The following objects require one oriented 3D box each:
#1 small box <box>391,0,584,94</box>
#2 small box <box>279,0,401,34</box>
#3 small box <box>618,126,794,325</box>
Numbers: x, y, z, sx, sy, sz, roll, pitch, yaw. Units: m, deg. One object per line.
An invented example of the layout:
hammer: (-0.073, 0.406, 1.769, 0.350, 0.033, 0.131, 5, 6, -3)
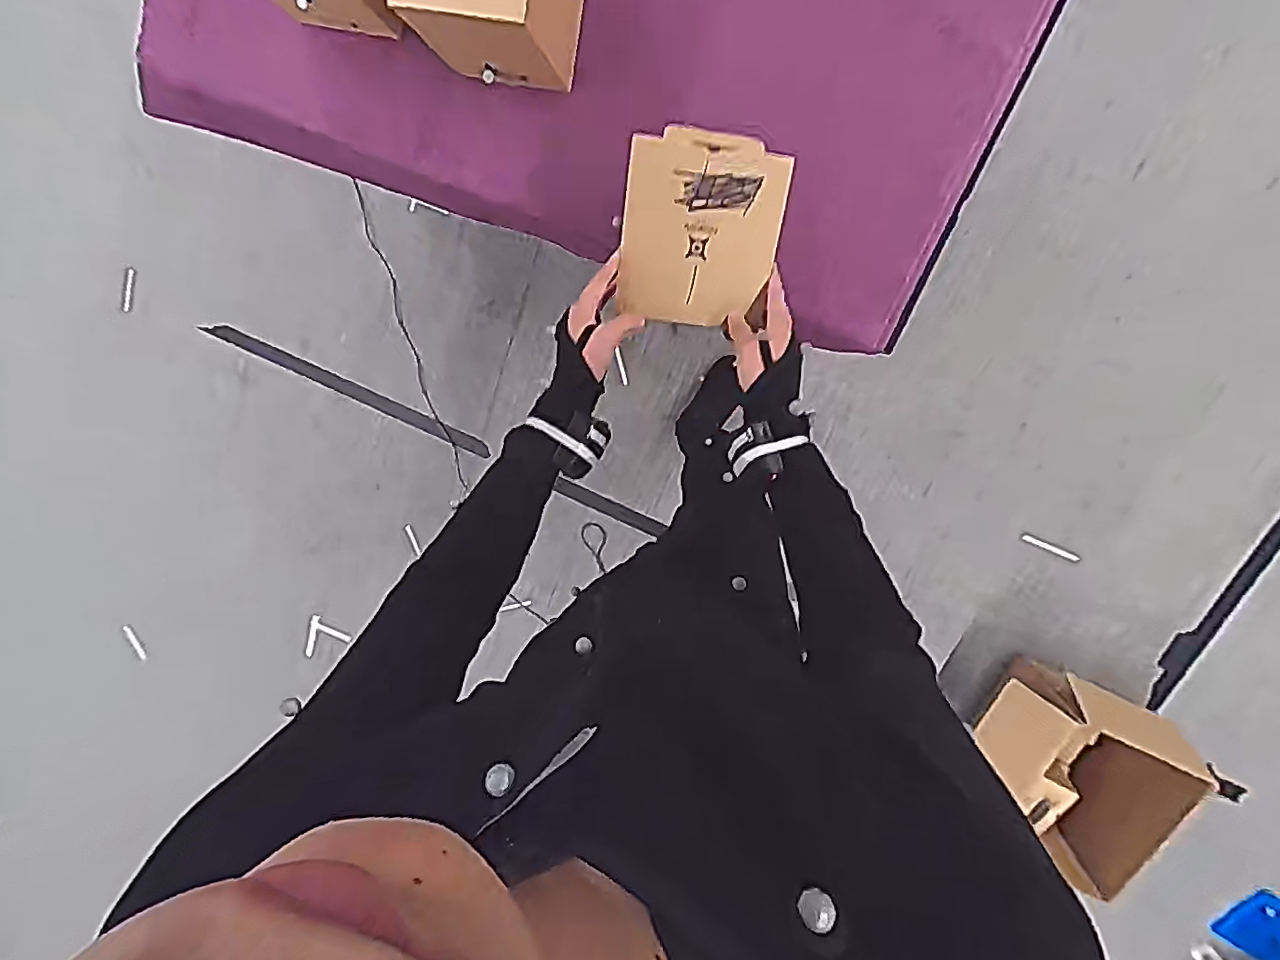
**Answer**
small box: (-0.169, -0.605, 0.641, 0.168, 0.176, 0.179, 14, 105, 7)
small box: (-0.405, -0.695, 0.660, 0.168, 0.176, 0.179, 15, 105, 6)
small box: (0.065, -0.287, 0.649, 0.168, 0.176, 0.179, 7, 107, -3)
